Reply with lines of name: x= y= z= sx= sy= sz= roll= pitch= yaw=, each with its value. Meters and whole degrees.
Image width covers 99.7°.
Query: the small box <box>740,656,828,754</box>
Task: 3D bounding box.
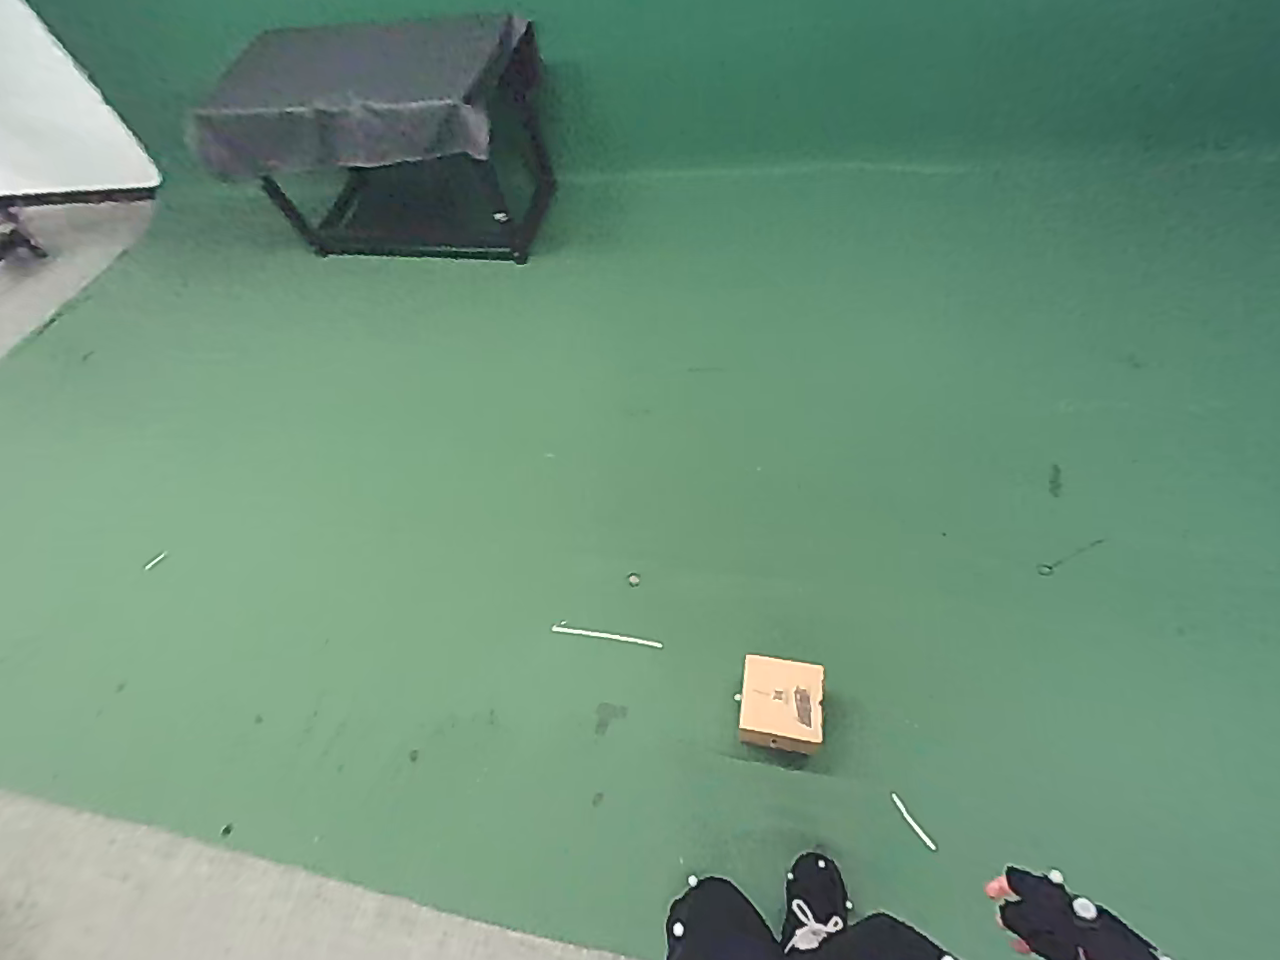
small box: x=0.332 y=0.527 z=1.257 sx=0.179 sy=0.176 sz=0.168 roll=6 pitch=57 yaw=14
